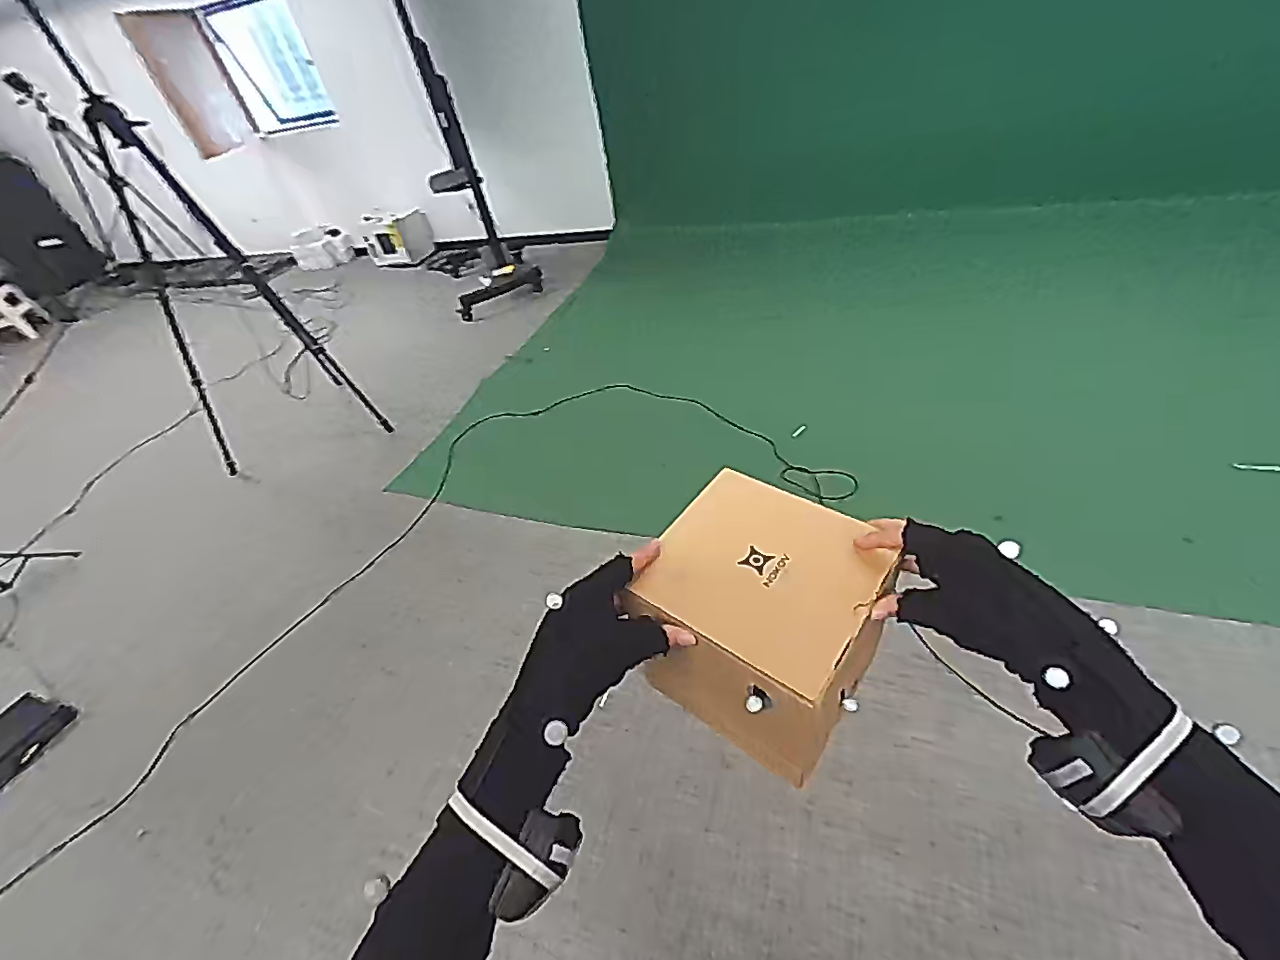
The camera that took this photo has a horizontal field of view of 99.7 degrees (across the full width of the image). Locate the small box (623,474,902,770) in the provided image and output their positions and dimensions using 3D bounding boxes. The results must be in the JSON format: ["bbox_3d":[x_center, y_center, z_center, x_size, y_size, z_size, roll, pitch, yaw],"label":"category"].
[{"bbox_3d":[0.109,0.129,0.503,0.179,0.176,0.168,26,54,32],"label":"small box"}]
